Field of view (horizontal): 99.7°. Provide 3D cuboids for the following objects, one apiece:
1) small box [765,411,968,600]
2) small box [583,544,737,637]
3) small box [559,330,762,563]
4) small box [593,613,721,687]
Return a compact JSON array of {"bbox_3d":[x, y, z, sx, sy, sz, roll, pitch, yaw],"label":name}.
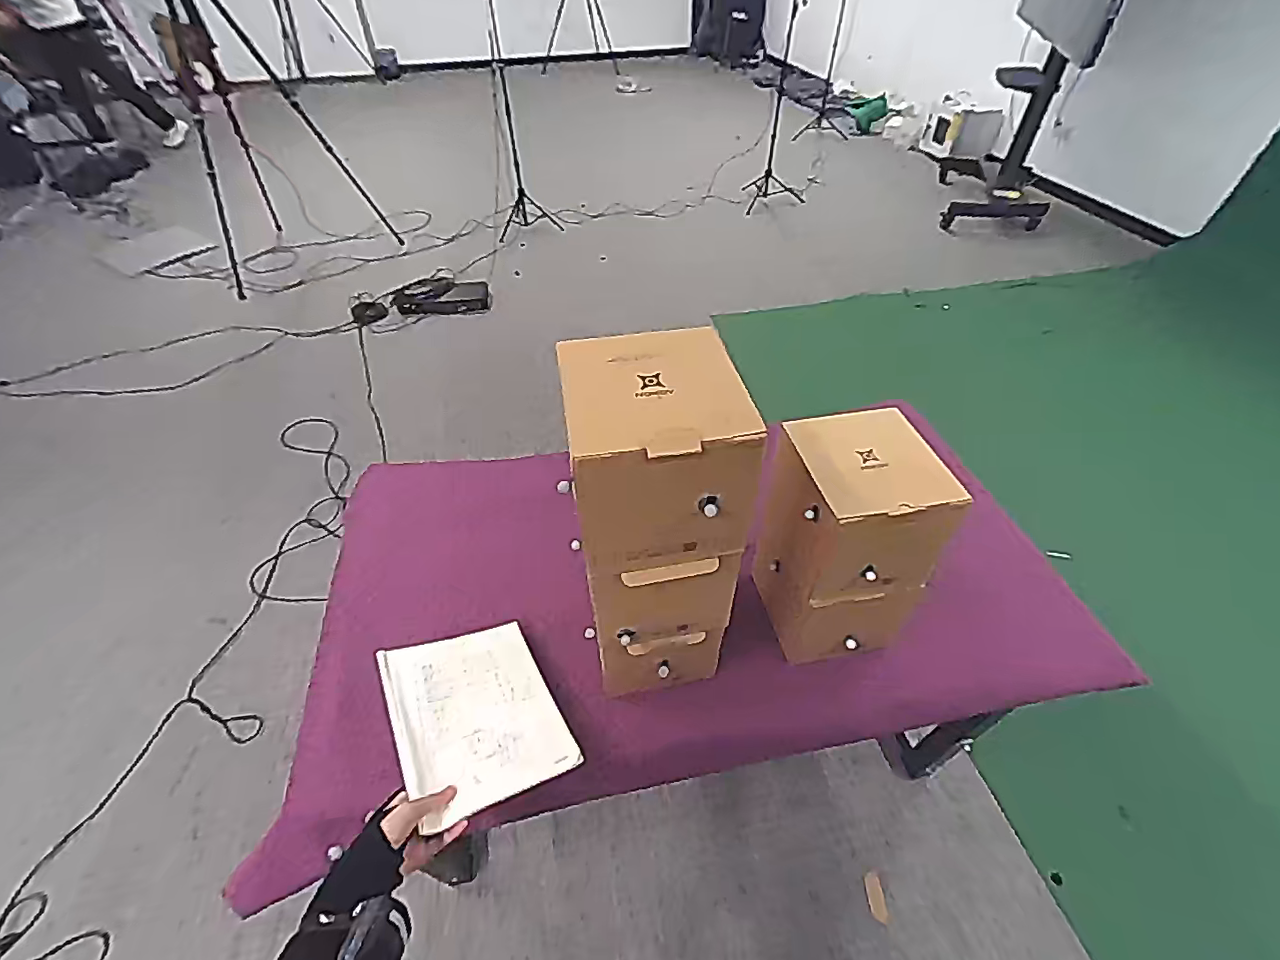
[{"bbox_3d":[0.279,0.032,0.719,0.168,0.176,0.179,-8,46,-7],"label":"small box"},{"bbox_3d":[0.013,0.079,0.678,0.168,0.176,0.179,-8,46,-7],"label":"small box"},{"bbox_3d":[0.012,-0.030,0.557,0.168,0.176,0.179,-7,46,-7],"label":"small box"},{"bbox_3d":[0.014,0.189,0.802,0.168,0.176,0.179,-8,47,-7],"label":"small box"}]
